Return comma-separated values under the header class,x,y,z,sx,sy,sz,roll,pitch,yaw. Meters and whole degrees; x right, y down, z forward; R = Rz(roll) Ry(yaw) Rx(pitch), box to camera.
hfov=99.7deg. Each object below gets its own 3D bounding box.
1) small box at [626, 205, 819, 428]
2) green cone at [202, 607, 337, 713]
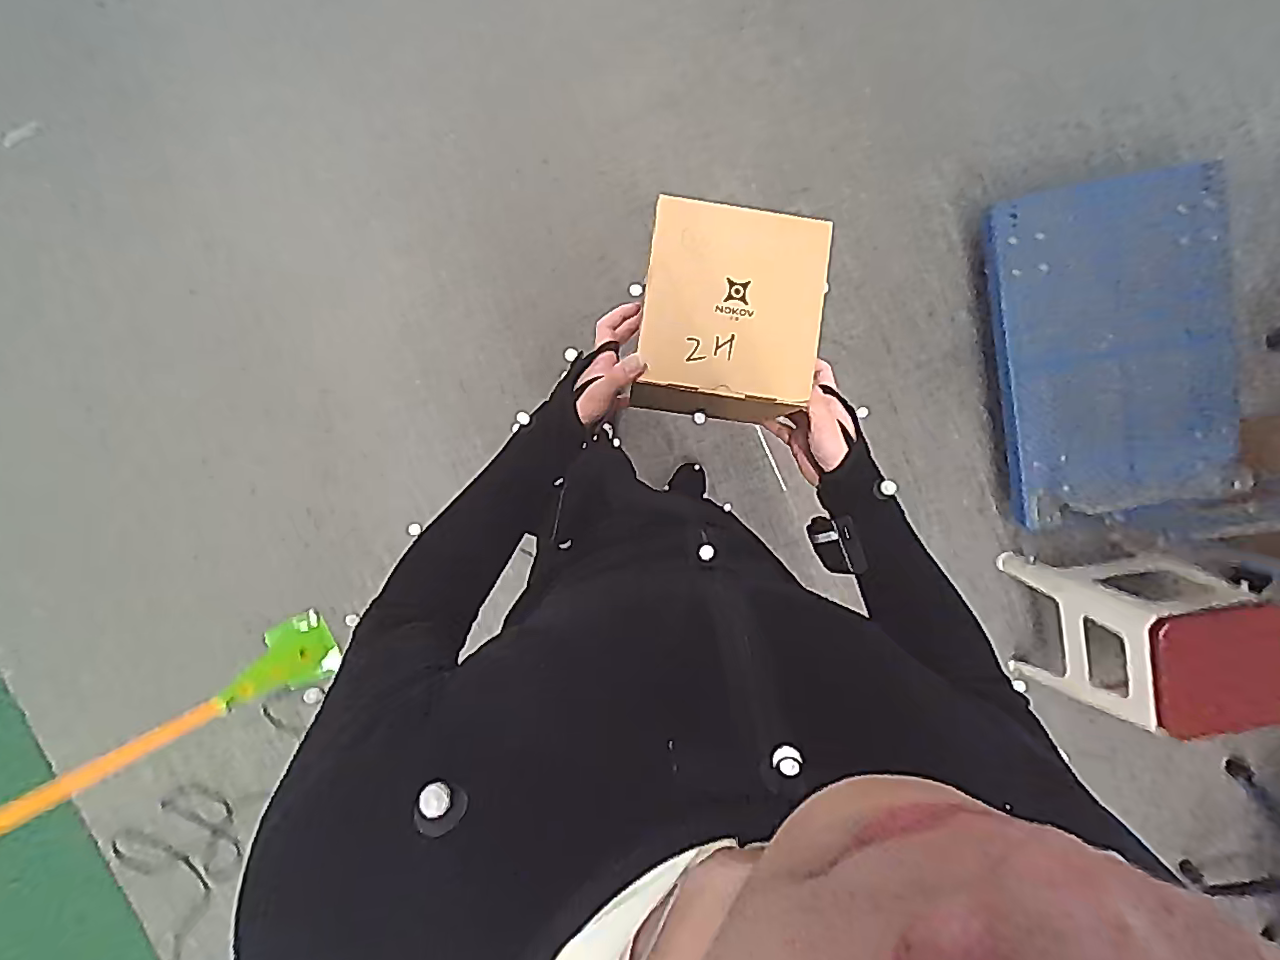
class,x,y,z,sx,sy,sz,roll,pitch,yaw
small box,0.076,-0.161,0.587,0.168,0.176,0.179,7,89,-3
green cone,-1.071,0.535,1.515,0.200,0.368,0.202,-23,96,3
